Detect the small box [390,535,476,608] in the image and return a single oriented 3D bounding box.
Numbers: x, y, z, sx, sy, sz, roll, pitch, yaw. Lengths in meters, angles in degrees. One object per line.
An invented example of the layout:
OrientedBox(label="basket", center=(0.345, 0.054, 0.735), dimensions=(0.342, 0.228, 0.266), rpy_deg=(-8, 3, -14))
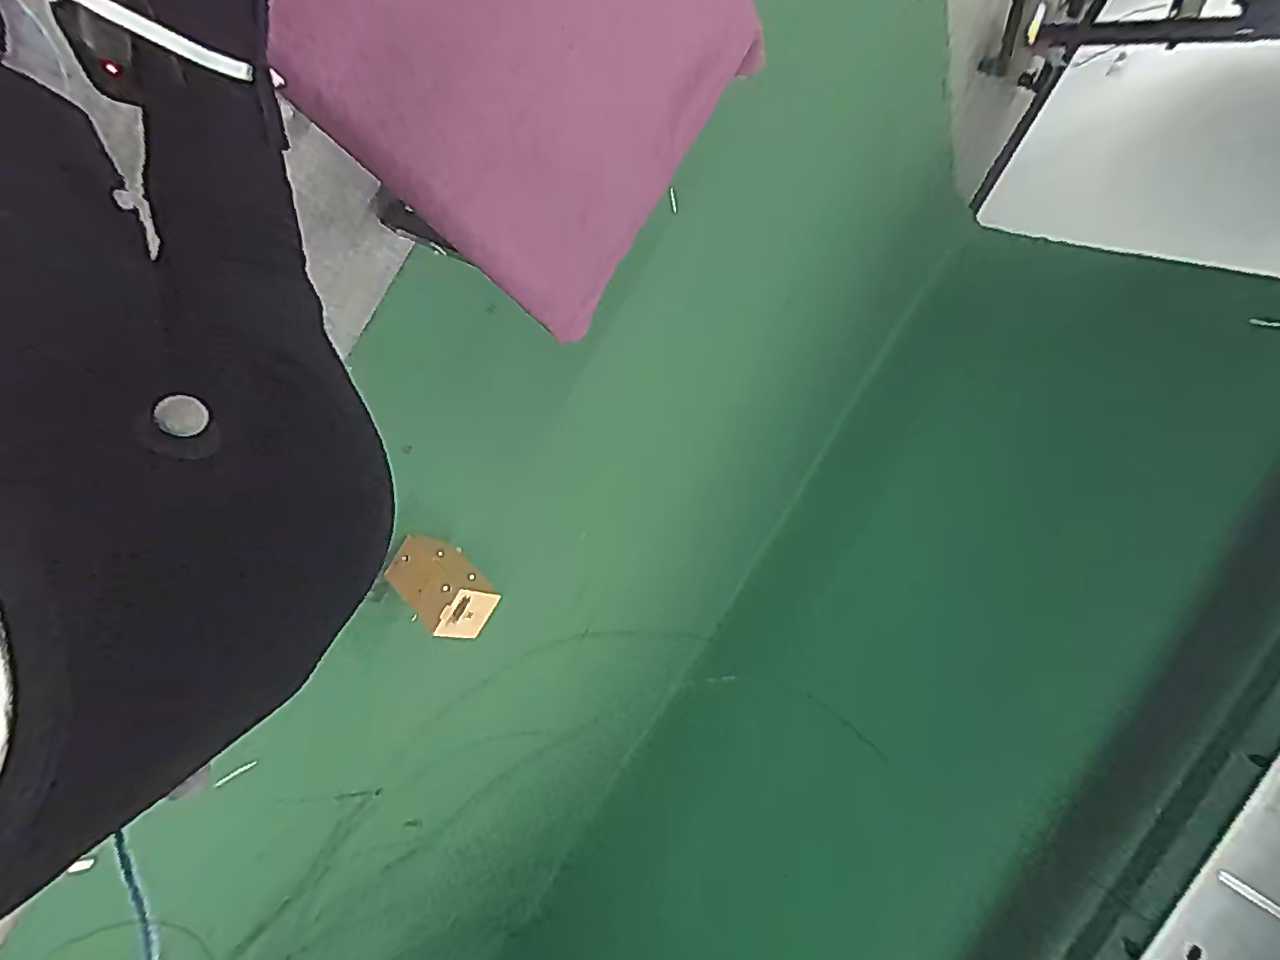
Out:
OrientedBox(label="small box", center=(-0.691, 0.302, 1.802), dimensions=(0.168, 0.176, 0.179), rpy_deg=(-58, 144, 1))
